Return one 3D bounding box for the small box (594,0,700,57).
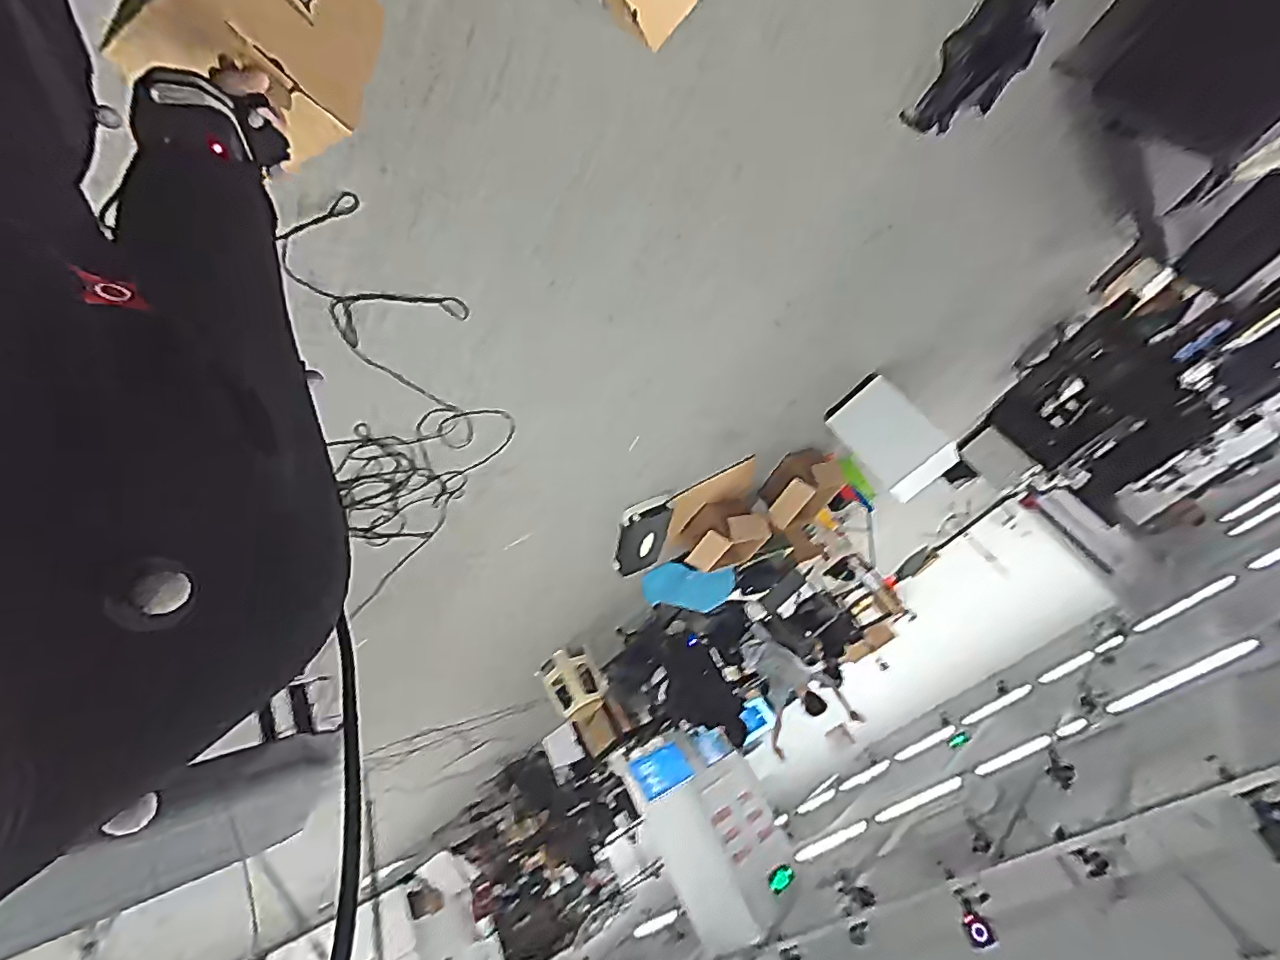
[{"bbox_3d":[0.002,-0.988,1.044,0.179,0.176,0.168,-42,151,15],"label":"small box"}]
